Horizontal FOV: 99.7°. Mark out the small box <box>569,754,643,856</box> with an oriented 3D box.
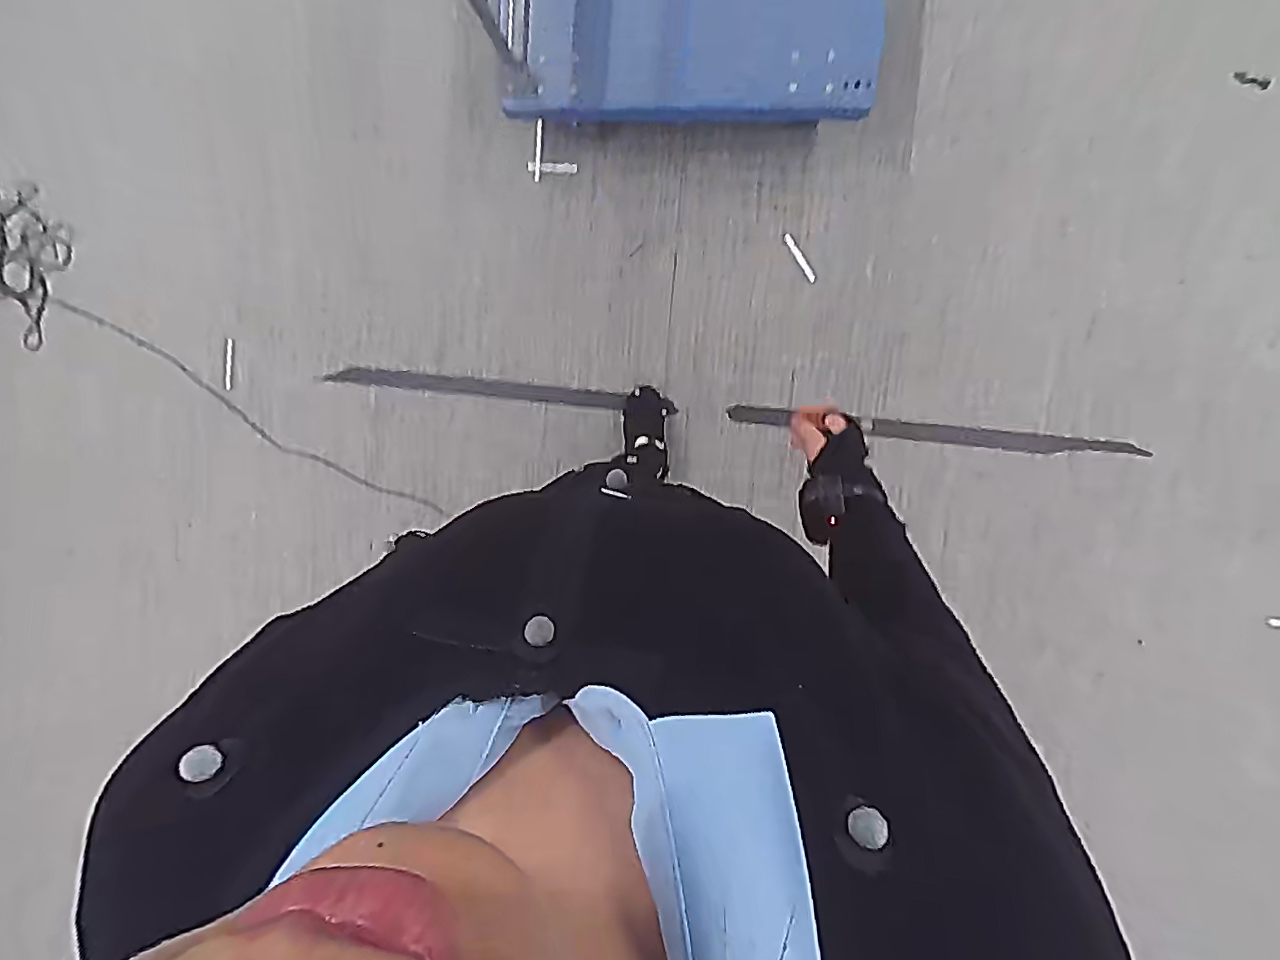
[{"bbox_3d":[-0.084,0.868,1.449,0.168,0.176,0.179,-6,93,4],"label":"small box"}]
